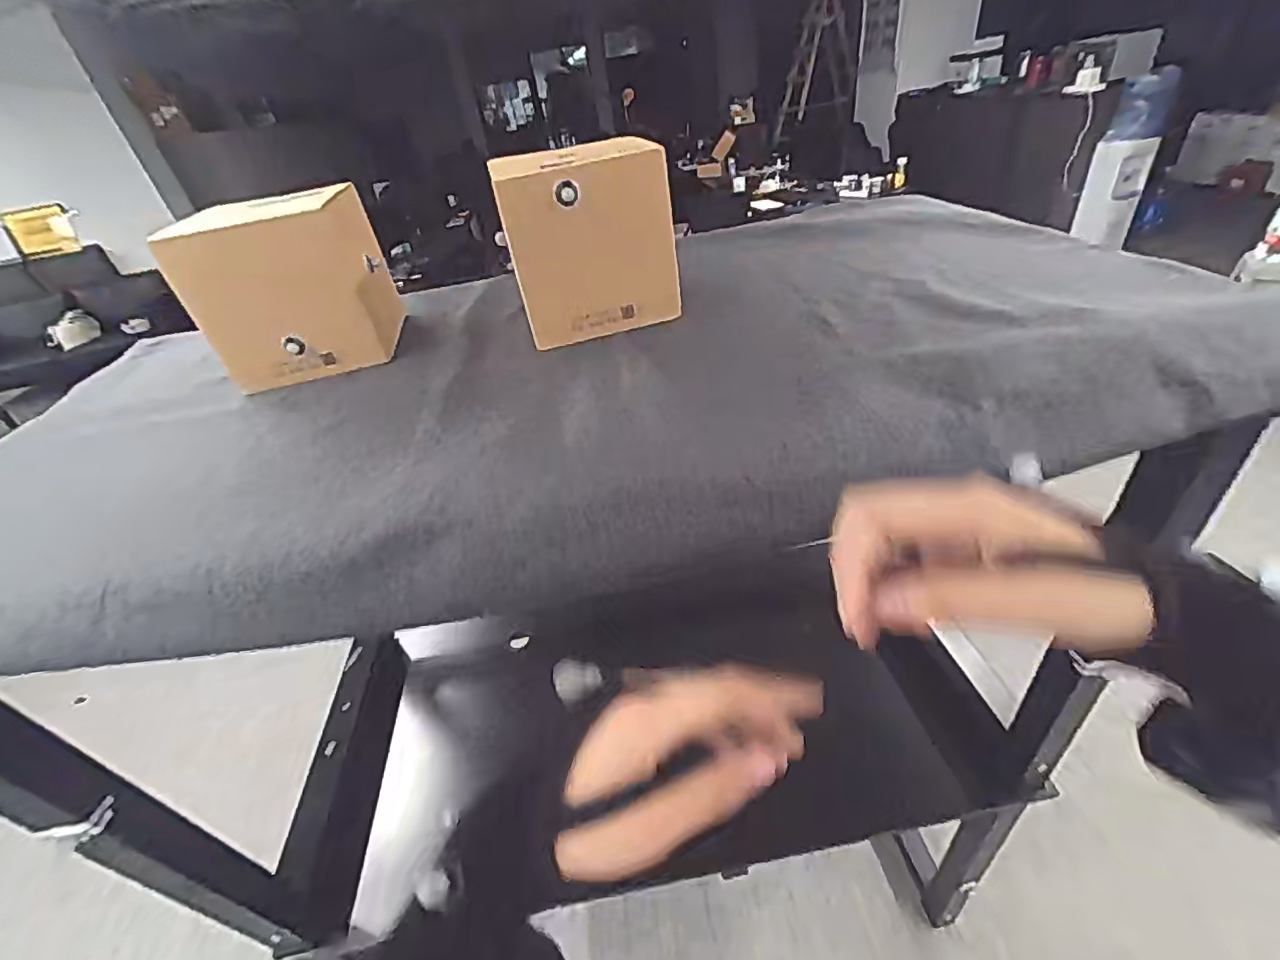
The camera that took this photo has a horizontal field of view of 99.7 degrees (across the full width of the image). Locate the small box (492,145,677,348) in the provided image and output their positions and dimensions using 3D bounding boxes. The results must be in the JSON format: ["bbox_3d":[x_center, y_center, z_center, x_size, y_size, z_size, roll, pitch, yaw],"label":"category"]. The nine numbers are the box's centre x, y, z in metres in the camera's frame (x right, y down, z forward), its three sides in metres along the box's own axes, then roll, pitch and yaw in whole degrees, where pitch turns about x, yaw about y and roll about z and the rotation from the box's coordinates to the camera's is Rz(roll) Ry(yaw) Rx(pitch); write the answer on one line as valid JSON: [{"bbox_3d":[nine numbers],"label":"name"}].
[{"bbox_3d":[-0.064,-0.268,0.615,0.168,0.176,0.179,-15,36,-6],"label":"small box"}]
